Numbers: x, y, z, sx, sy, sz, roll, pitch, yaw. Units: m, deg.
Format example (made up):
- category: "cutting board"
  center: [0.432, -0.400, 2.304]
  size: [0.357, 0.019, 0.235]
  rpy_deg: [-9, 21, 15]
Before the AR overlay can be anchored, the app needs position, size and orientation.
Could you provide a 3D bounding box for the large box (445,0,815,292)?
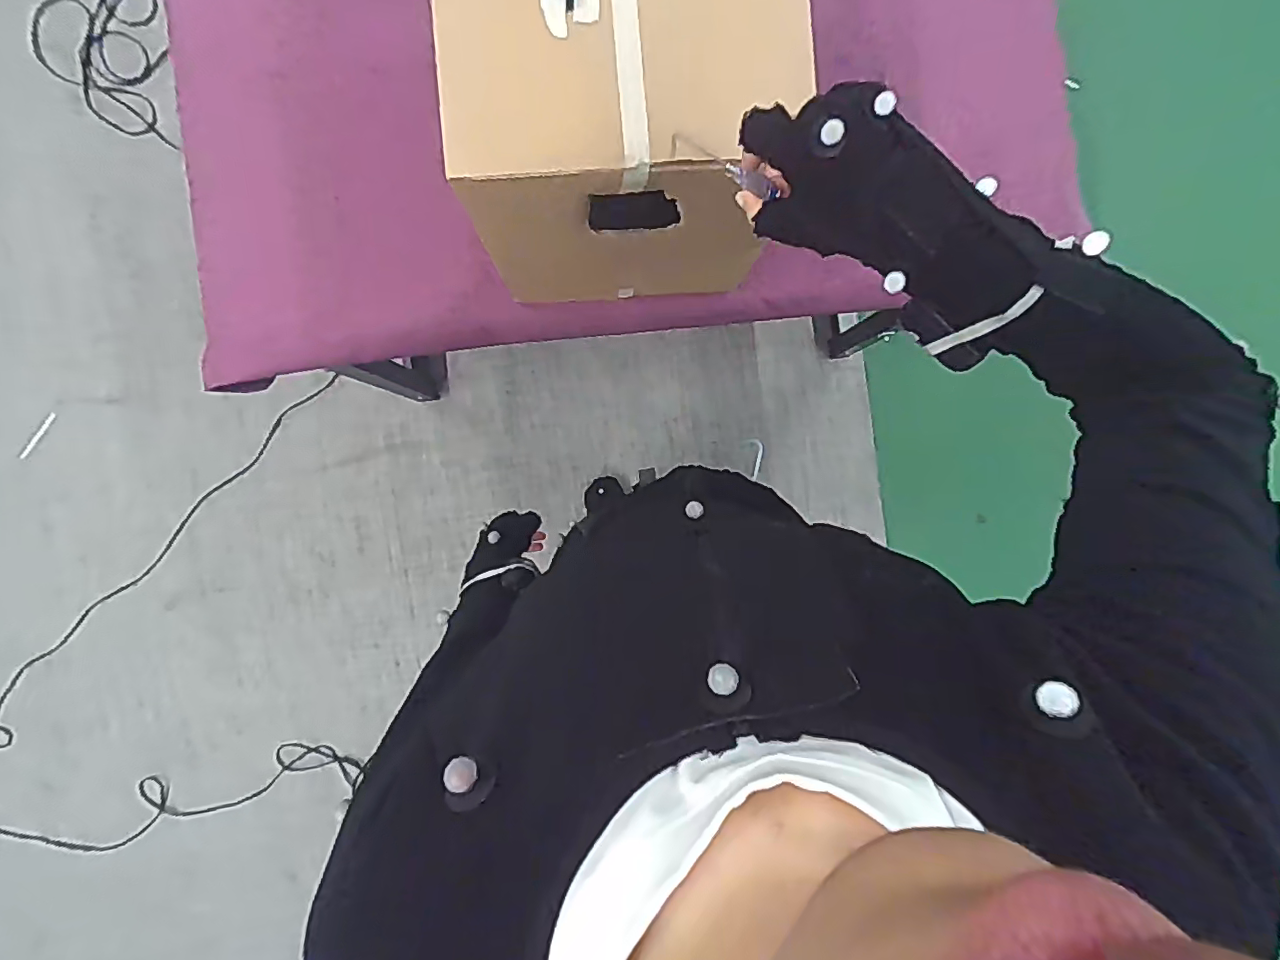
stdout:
- category: "large box"
  center: [-0.025, -0.465, 0.606]
  size: [0.320, 0.320, 0.408]
  rpy_deg: [-4, 92, -3]
